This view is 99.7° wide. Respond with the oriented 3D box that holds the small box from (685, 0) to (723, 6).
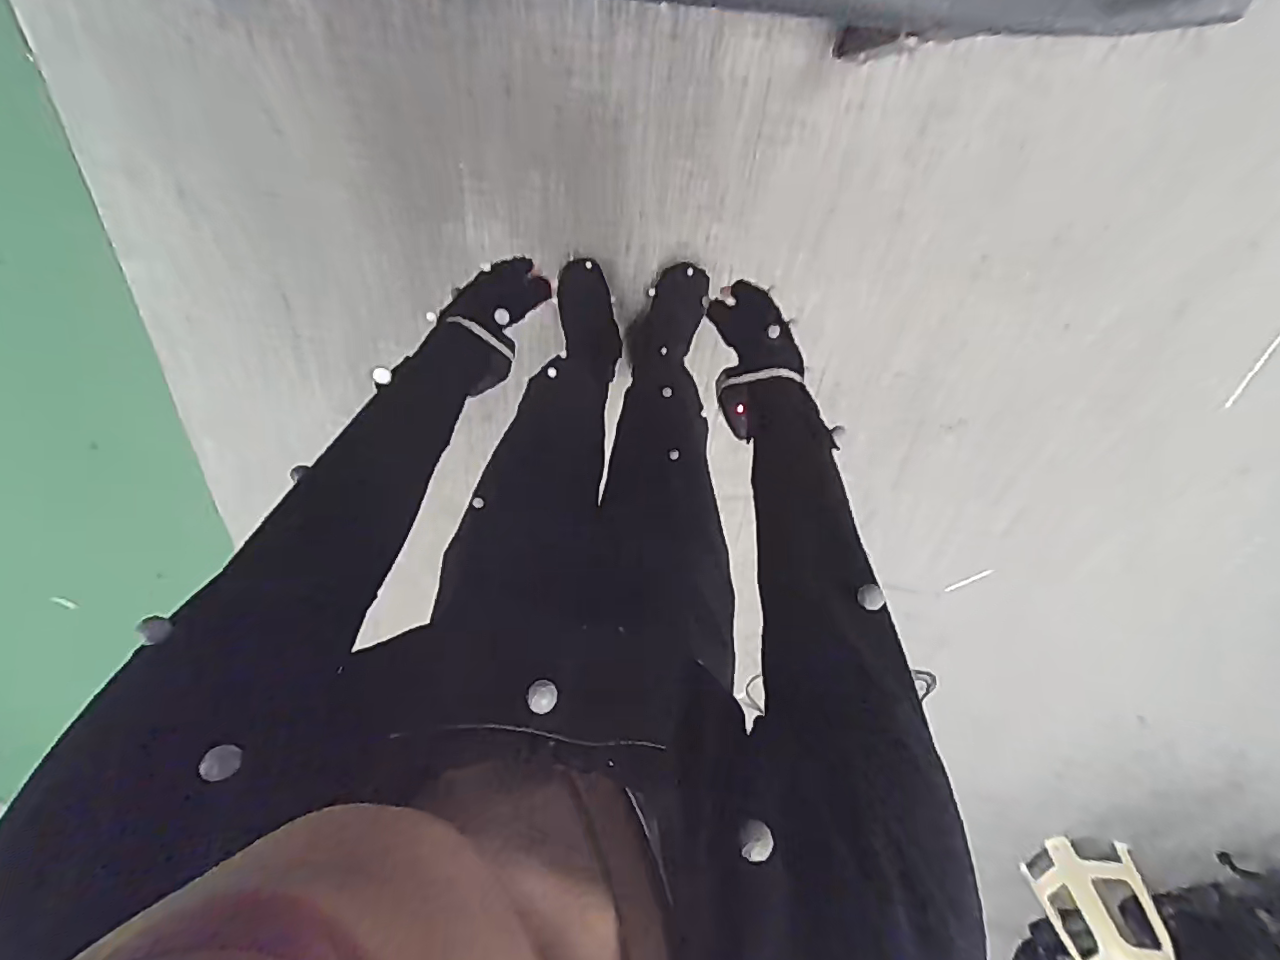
[{"bbox_3d":[0.055,-0.756,0.705,0.168,0.176,0.179,11,127,-3],"label":"small box"}]
